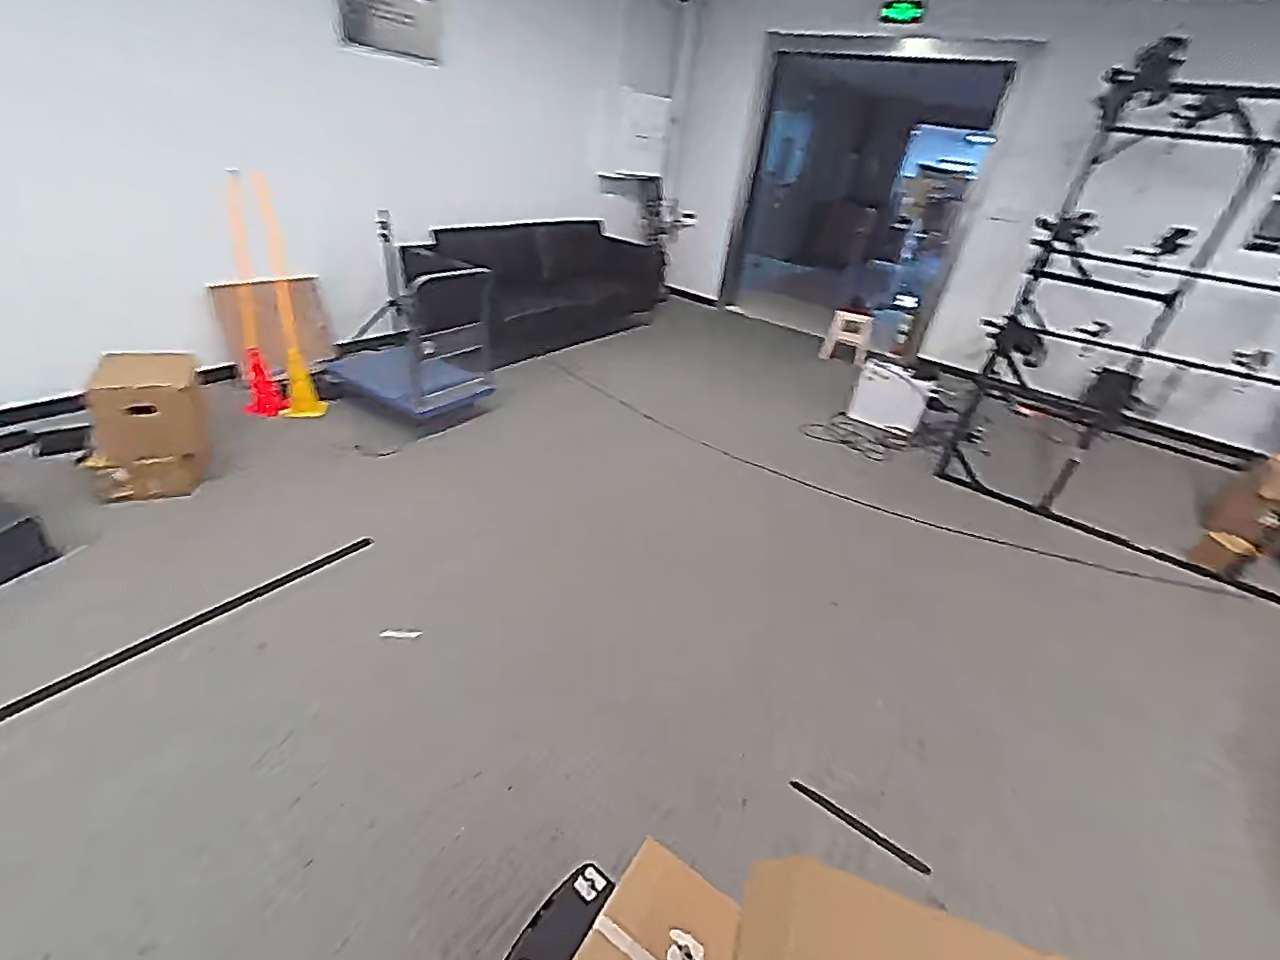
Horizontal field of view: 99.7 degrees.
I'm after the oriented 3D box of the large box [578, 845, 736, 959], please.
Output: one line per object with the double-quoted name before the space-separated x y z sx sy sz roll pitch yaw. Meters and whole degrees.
"large box" 0.085 0.901 0.844 0.408 0.320 0.320 23 34 25
